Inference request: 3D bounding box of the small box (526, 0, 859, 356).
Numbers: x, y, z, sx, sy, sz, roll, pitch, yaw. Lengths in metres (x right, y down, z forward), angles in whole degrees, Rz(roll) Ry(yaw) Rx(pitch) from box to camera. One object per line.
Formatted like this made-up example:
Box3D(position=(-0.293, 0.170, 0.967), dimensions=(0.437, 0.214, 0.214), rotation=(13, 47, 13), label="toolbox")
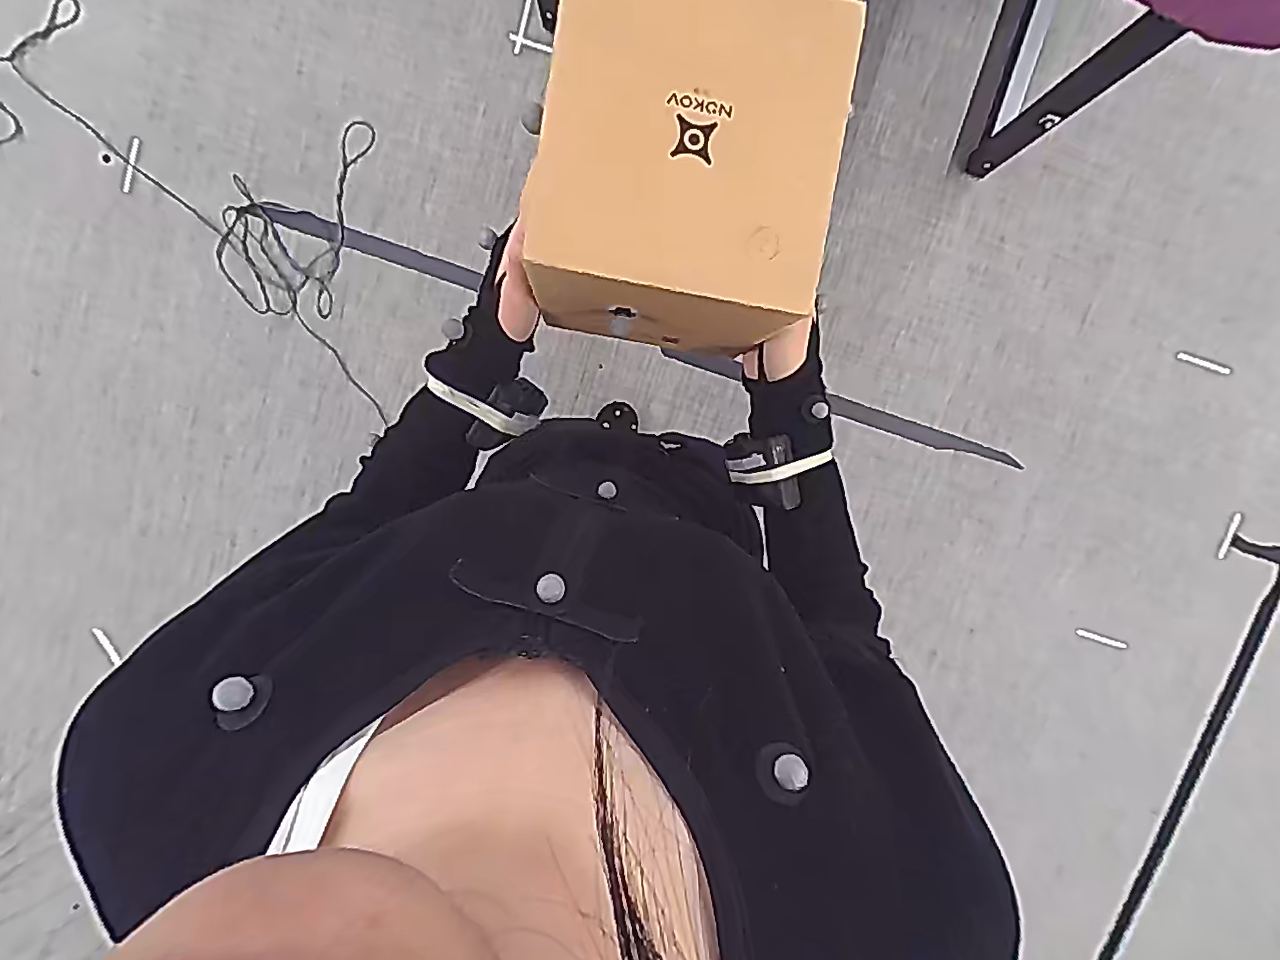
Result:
Box3D(position=(0.024, -0.195, 0.381), dimensions=(0.168, 0.176, 0.179), rotation=(9, 92, -6), label="small box")
